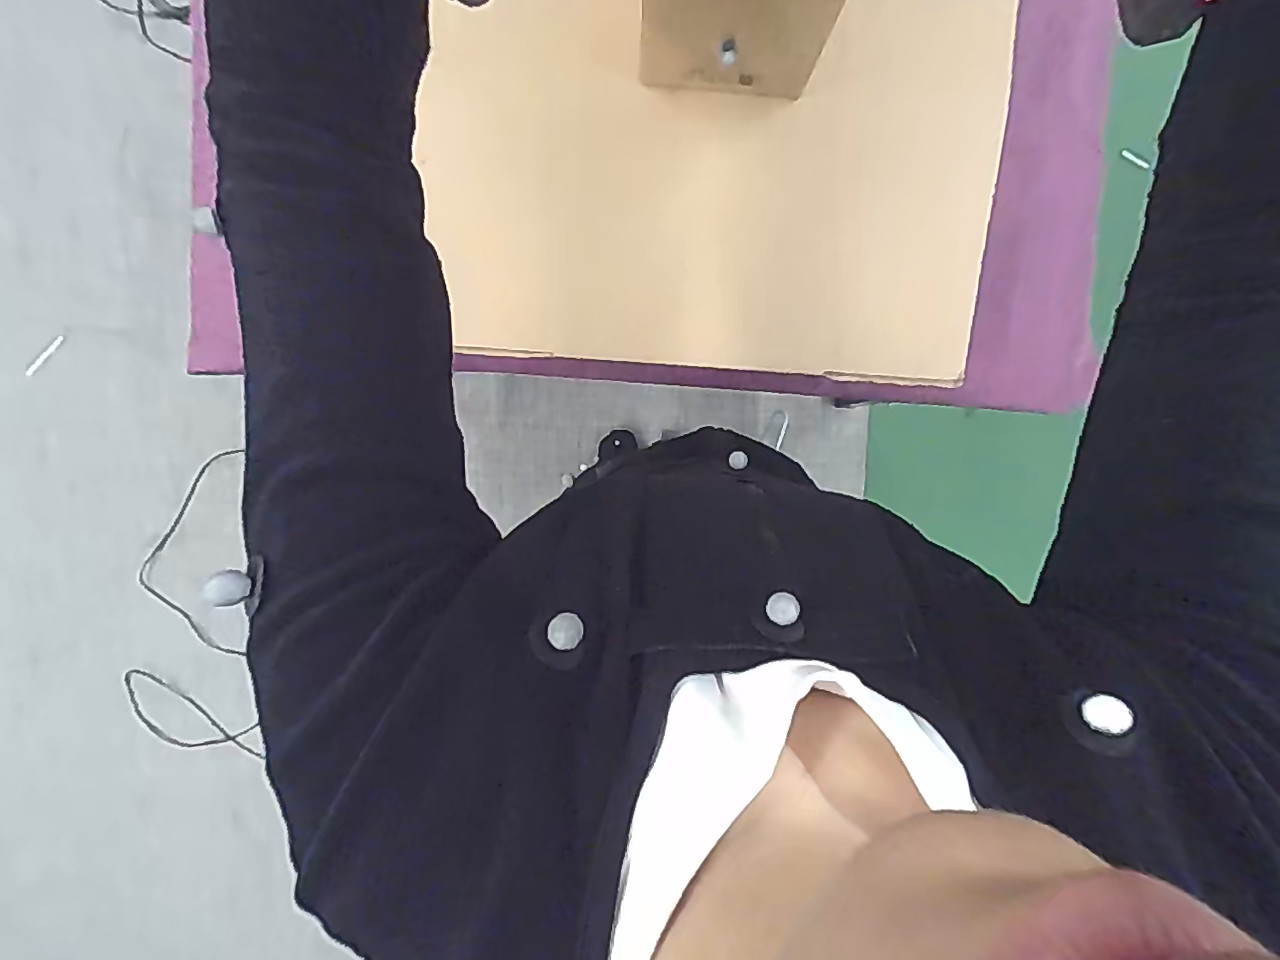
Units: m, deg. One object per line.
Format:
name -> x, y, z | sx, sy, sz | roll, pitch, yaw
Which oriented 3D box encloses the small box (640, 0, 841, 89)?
small box -> 0.089, -0.481, 0.455 | 0.168, 0.176, 0.179 | 4, 93, -2
